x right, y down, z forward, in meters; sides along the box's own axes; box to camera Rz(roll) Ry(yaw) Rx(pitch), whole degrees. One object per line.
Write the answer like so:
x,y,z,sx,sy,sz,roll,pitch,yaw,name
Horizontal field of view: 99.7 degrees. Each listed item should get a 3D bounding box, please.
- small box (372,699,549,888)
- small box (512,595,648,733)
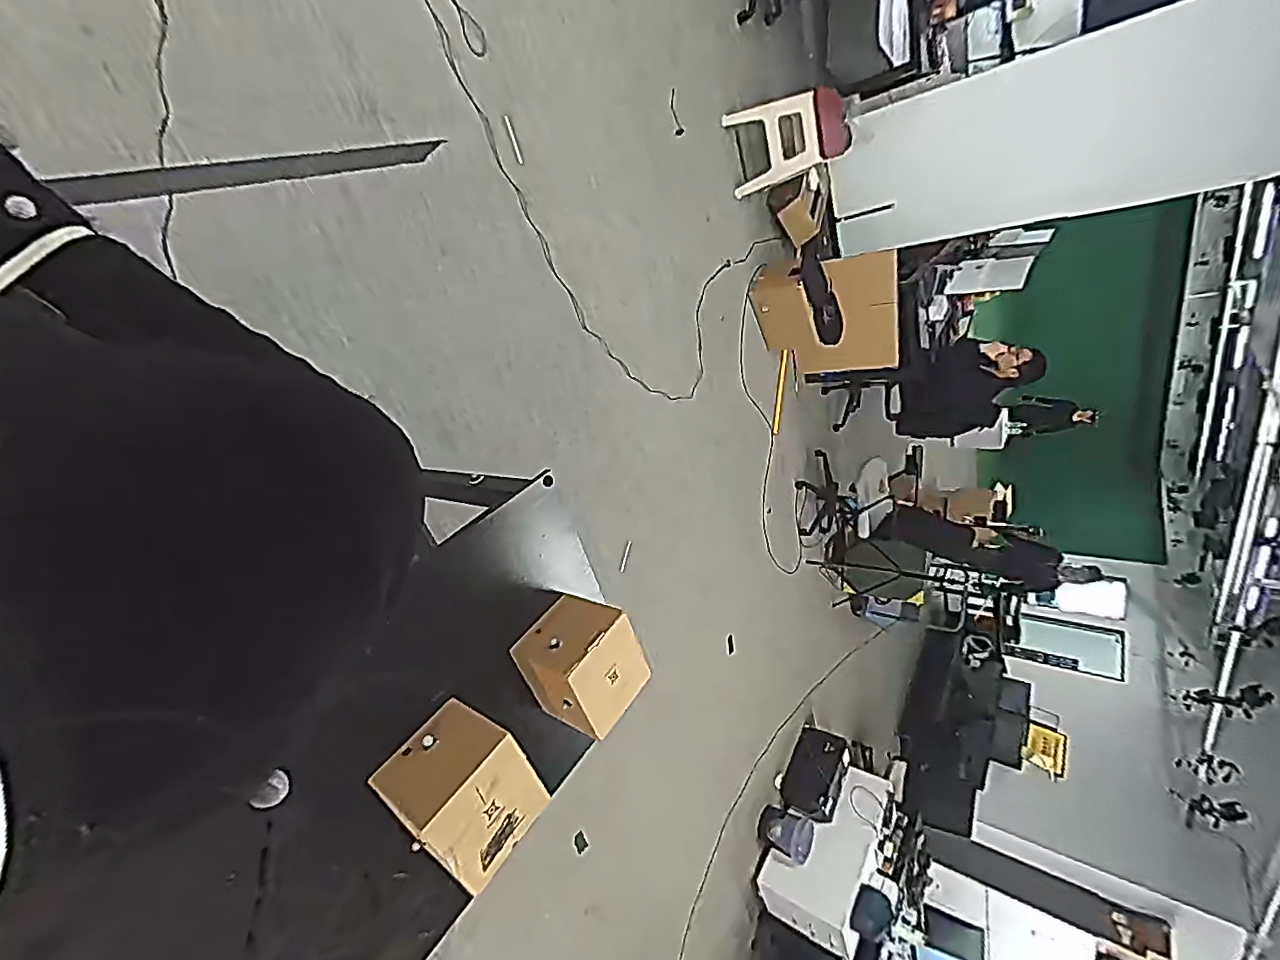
-0.283,0.484,0.861,0.168,0.176,0.179,-43,124,-39,small box
-0.116,0.343,1.048,0.168,0.176,0.179,-43,125,-37,small box
